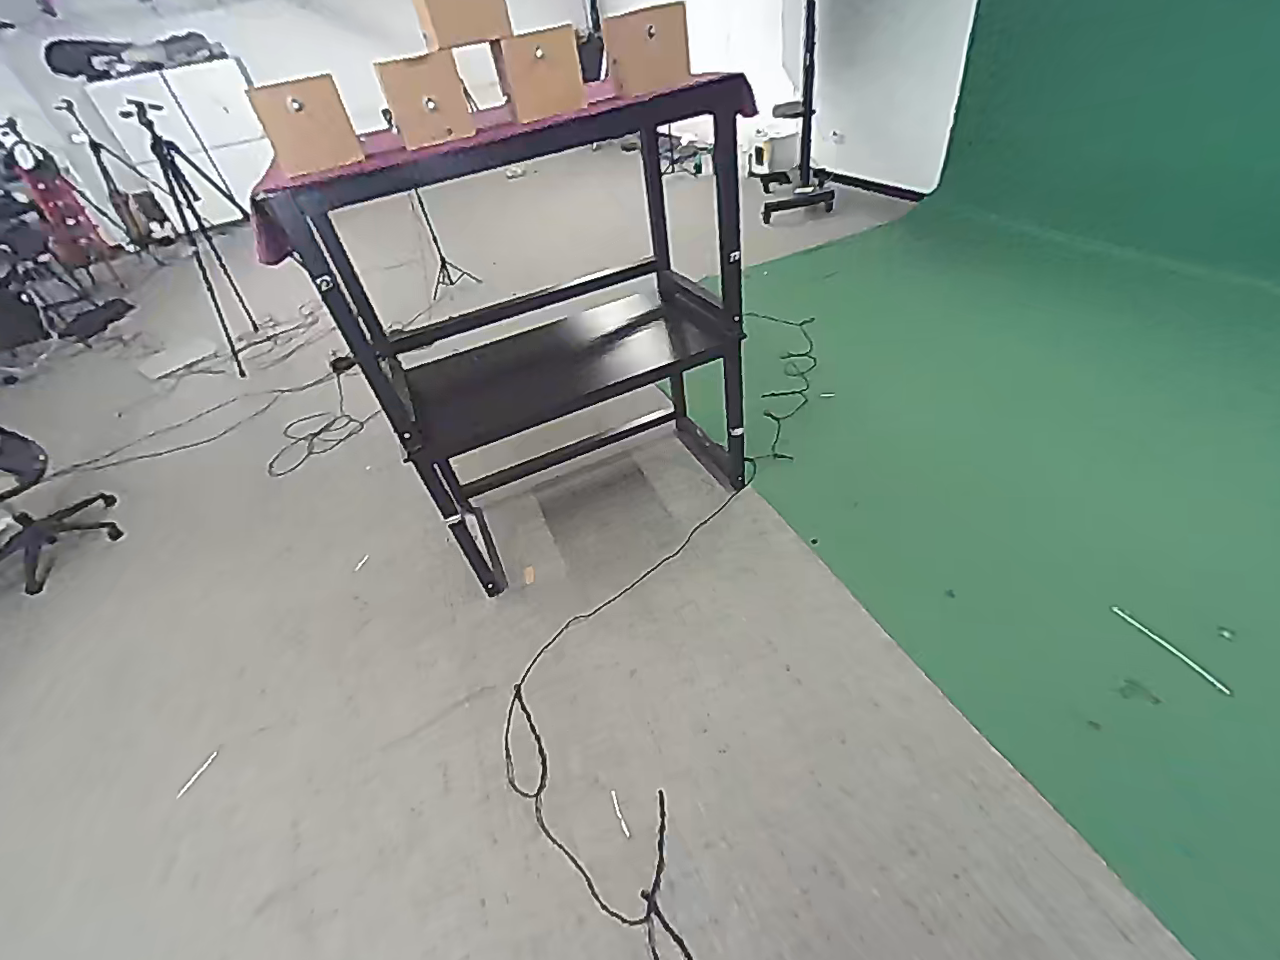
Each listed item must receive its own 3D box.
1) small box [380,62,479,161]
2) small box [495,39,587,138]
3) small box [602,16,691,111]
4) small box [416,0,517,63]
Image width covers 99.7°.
[{"bbox_3d":[-0.500,-0.879,1.293,0.168,0.176,0.179,-22,41,-13],"label":"small box"},{"bbox_3d":[-0.243,-0.980,1.355,0.179,0.176,0.168,-22,40,-11],"label":"small box"},{"bbox_3d":[0.020,-1.081,1.410,0.179,0.176,0.168,-20,42,-9],"label":"small box"},{"bbox_3d":[-0.398,-1.056,1.223,0.179,0.176,0.168,-22,40,-15],"label":"small box"}]
